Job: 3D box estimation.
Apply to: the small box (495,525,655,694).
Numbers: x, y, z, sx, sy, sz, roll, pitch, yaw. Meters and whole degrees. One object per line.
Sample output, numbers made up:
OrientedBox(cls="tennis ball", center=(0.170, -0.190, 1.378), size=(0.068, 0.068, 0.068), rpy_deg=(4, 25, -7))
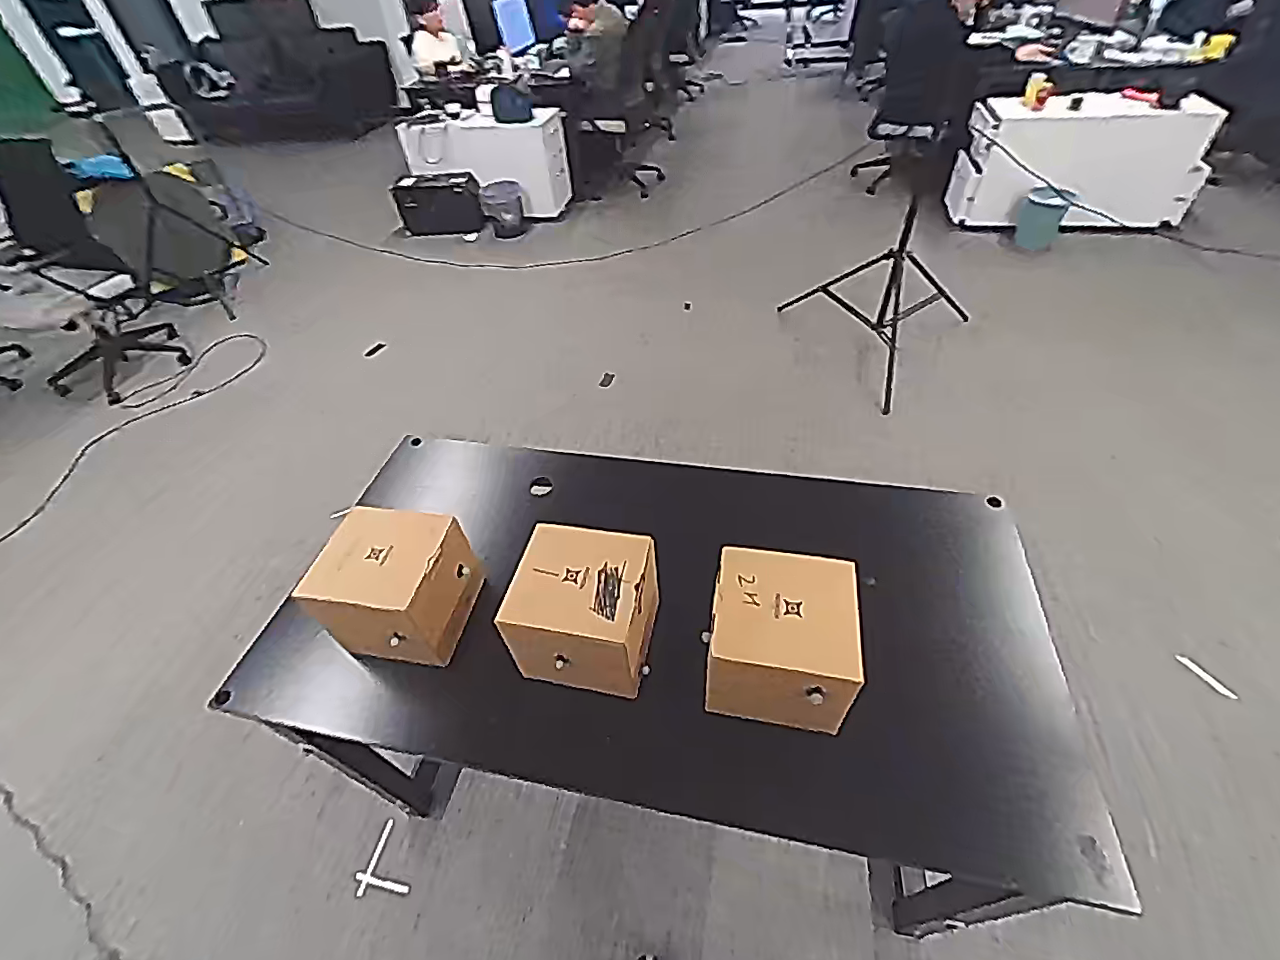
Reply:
OrientedBox(cls="small box", center=(-0.079, 0.190, 0.782), size=(0.179, 0.176, 0.168), rpy_deg=(6, 47, 12))

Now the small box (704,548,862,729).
OrientedBox(cls="small box", center=(0.184, 0.216, 0.730), size=(0.179, 0.176, 0.168), rpy_deg=(6, 46, 10))

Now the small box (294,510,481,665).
OrientedBox(cls="small box", center=(-0.369, 0.168, 0.833), size=(0.179, 0.176, 0.168), rpy_deg=(4, 46, 10))
